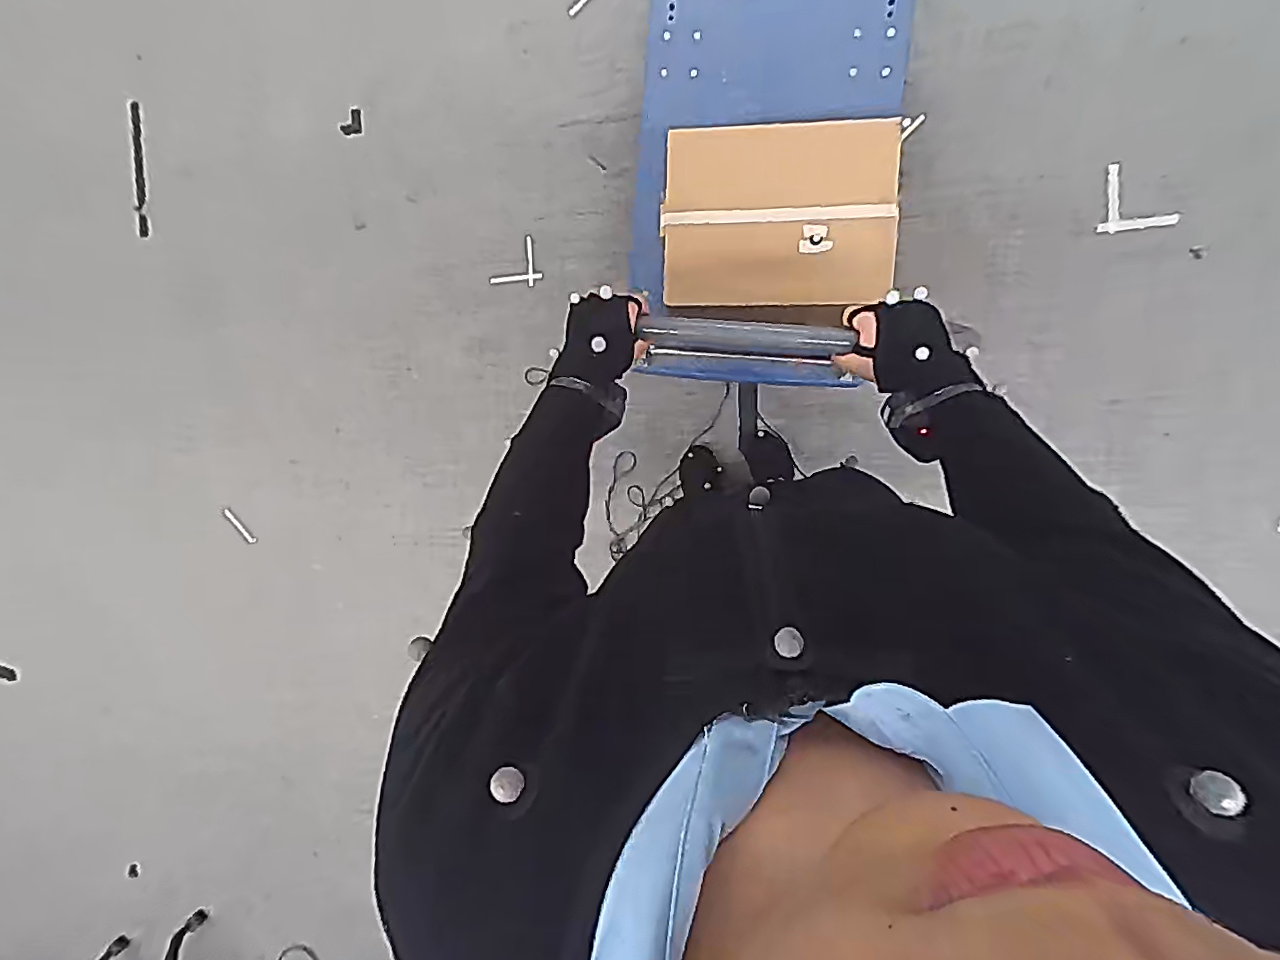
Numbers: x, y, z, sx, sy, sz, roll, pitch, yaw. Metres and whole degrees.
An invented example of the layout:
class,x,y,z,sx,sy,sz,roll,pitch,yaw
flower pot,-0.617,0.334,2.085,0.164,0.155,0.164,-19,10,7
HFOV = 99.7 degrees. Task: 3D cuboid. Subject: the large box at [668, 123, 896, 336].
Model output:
class,x,y,z,sx,sy,sz,roll,pitch,yaw
large box,0.267,-0.486,1.125,0.408,0.320,0.320,2,96,7
